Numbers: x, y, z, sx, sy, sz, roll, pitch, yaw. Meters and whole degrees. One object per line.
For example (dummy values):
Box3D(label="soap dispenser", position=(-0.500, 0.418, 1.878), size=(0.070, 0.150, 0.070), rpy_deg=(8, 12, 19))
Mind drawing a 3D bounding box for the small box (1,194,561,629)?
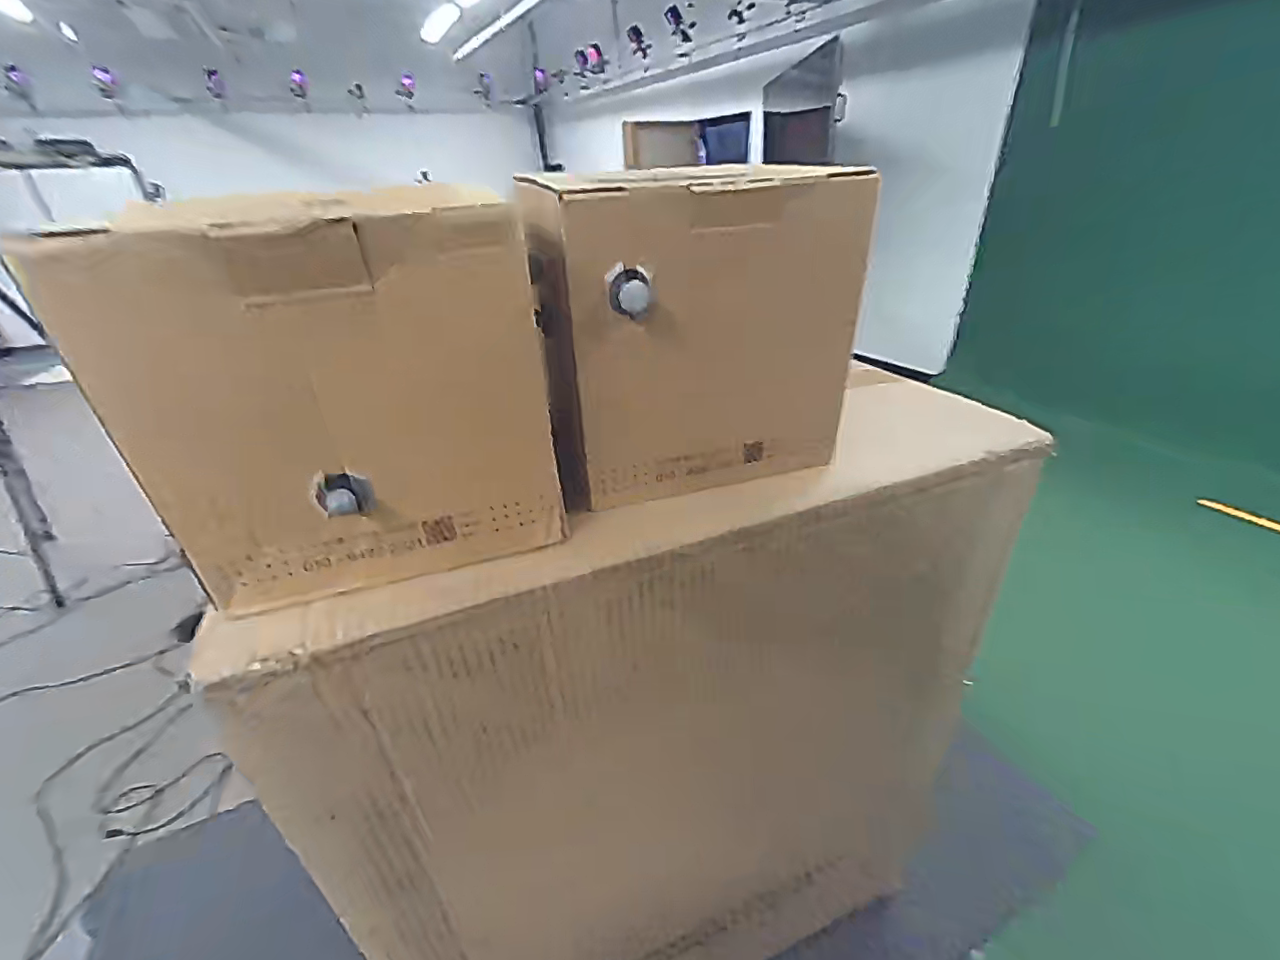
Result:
Box3D(label="small box", position=(-0.145, -0.053, 0.295), size=(0.168, 0.176, 0.179), rpy_deg=(-12, 34, -15))
